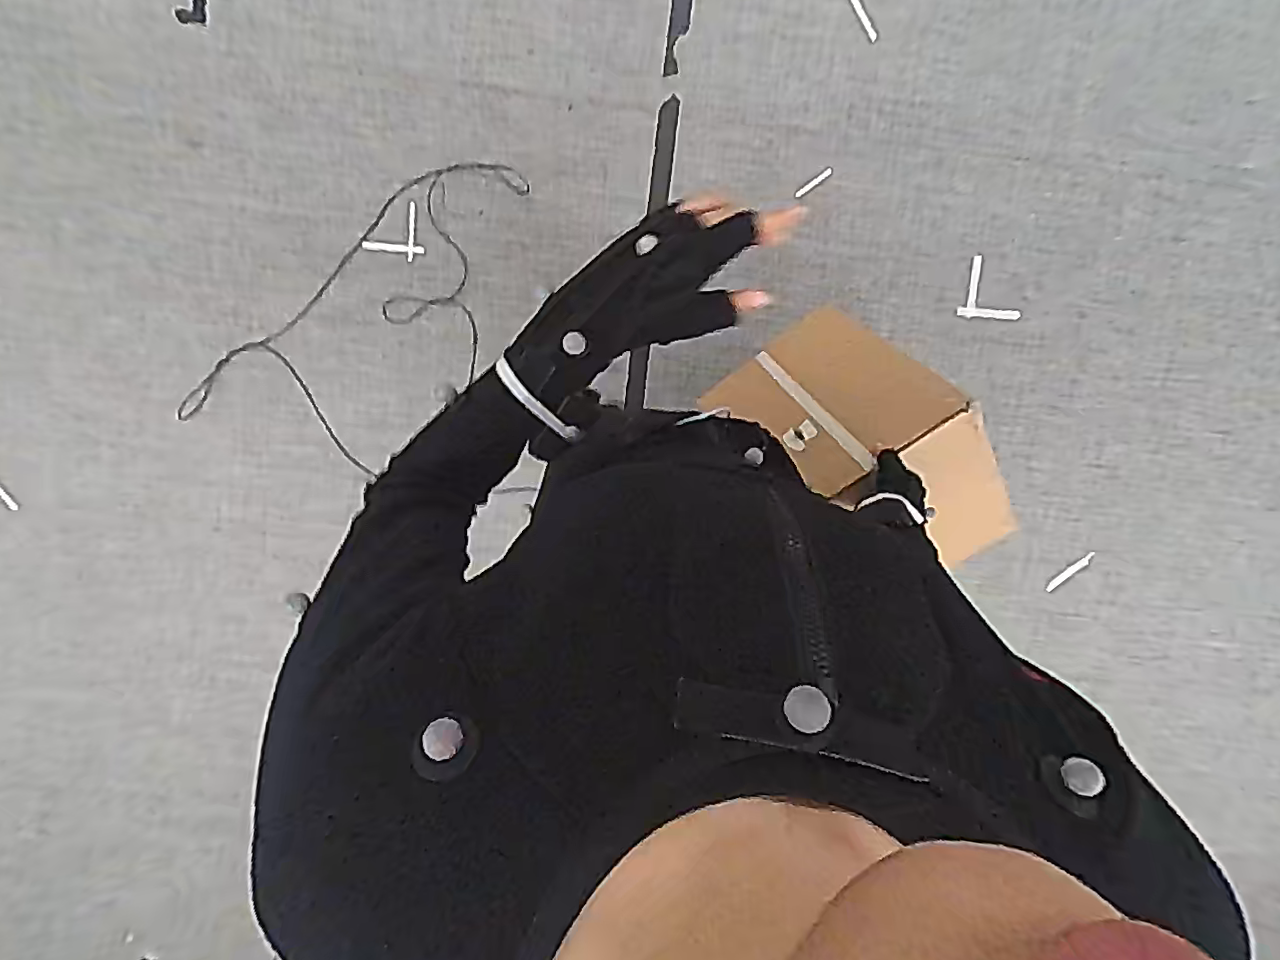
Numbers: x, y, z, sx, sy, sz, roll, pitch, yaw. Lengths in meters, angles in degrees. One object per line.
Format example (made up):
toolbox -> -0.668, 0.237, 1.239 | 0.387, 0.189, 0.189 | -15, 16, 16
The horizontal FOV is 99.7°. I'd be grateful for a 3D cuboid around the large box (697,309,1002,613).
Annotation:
large box -> 0.363, -0.044, 0.997 | 0.320, 0.408, 0.320 | -36, 128, 12
